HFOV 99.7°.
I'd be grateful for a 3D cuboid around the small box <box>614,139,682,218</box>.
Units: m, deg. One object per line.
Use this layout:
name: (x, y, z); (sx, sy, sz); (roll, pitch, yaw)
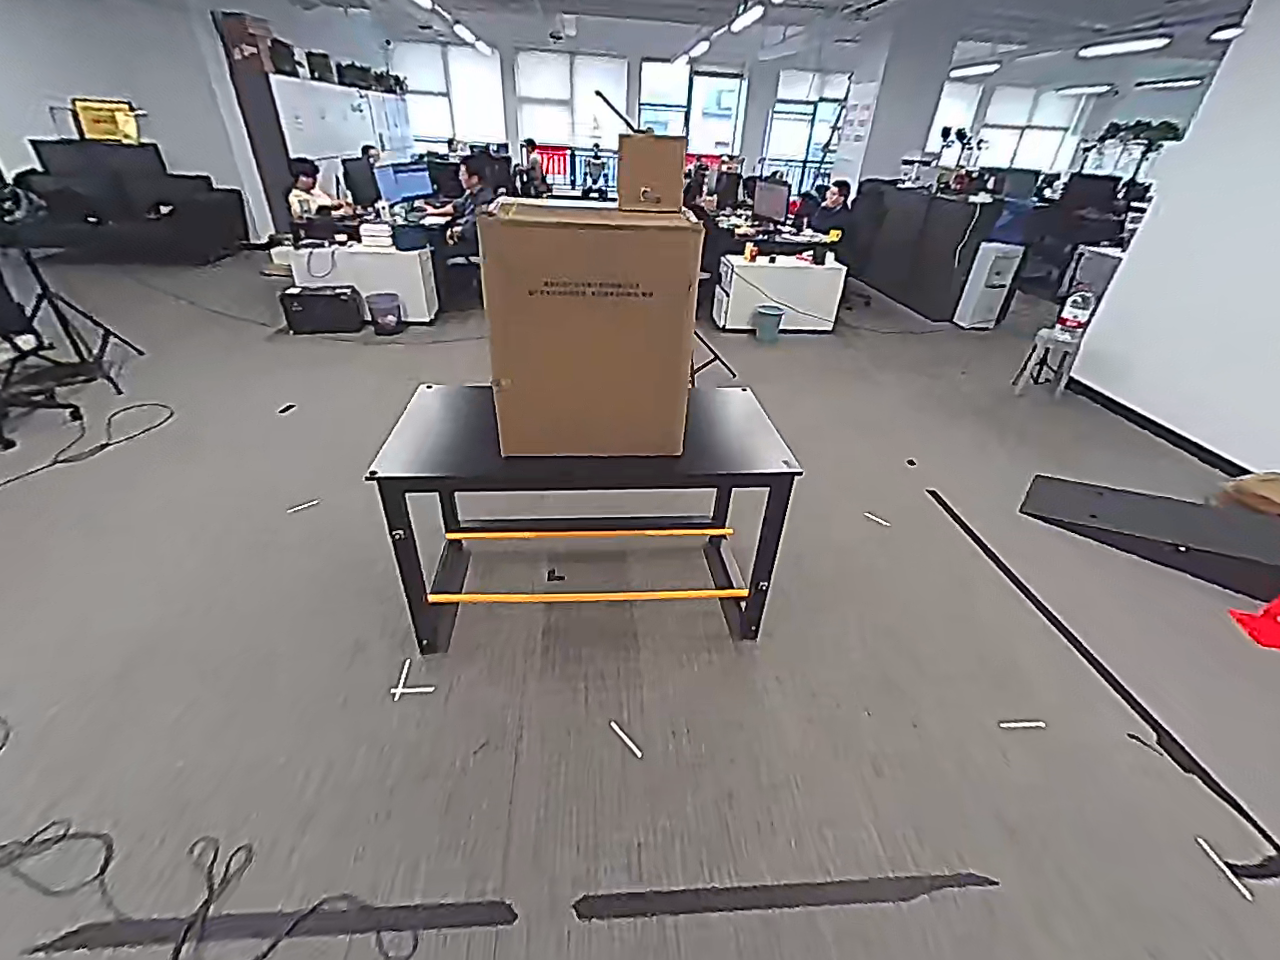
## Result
small box: (0.016, -0.784, 1.404); (0.168, 0.176, 0.179); (-2, 32, -3)
